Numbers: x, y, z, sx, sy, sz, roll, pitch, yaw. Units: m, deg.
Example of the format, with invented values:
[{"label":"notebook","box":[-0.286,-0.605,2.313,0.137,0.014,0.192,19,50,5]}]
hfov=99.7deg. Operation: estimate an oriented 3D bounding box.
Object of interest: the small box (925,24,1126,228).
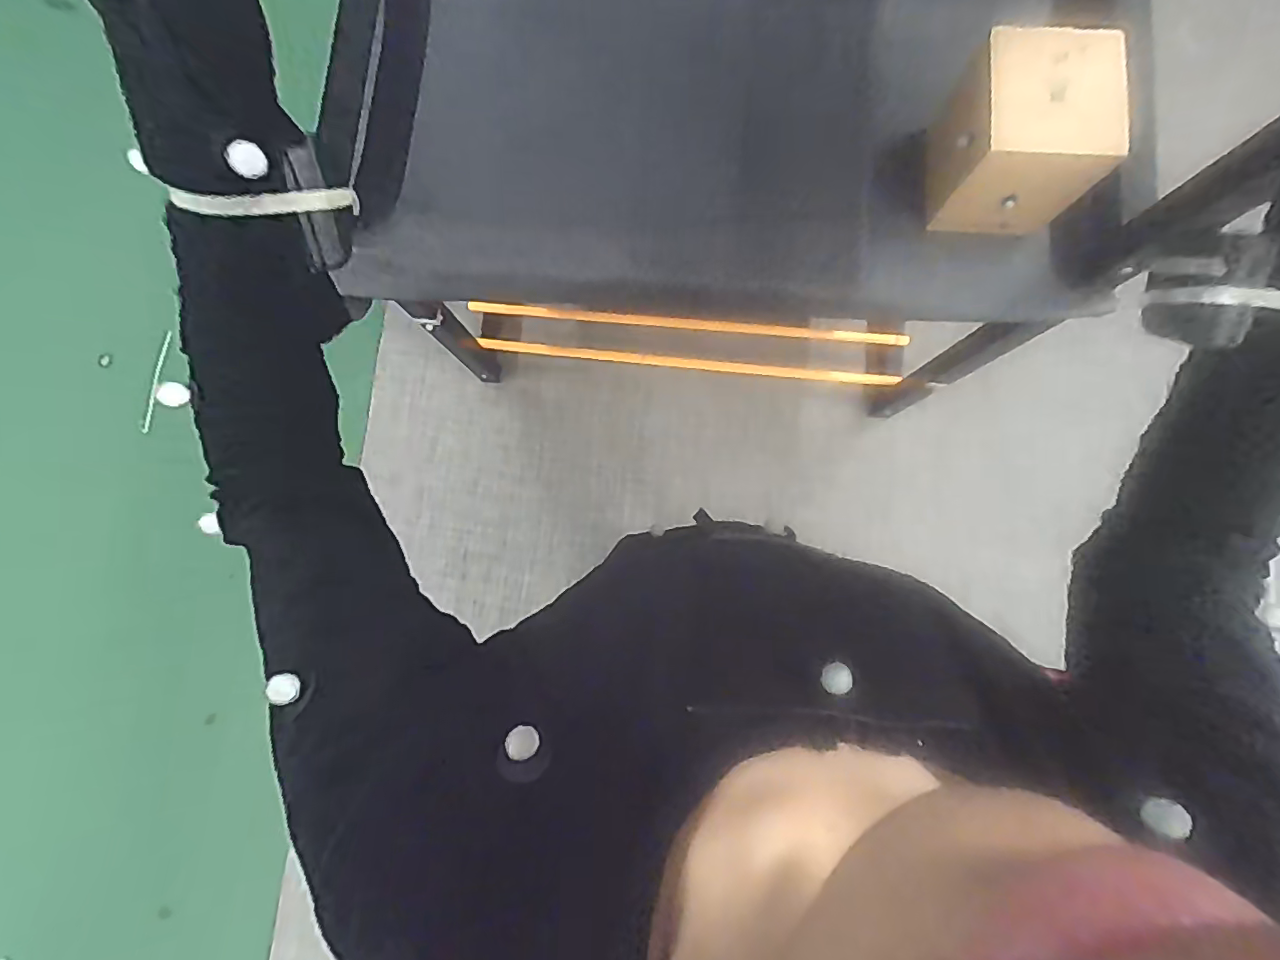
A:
[{"label":"small box","box":[0.517,-0.474,0.747,0.168,0.176,0.179,4,82,2]}]
